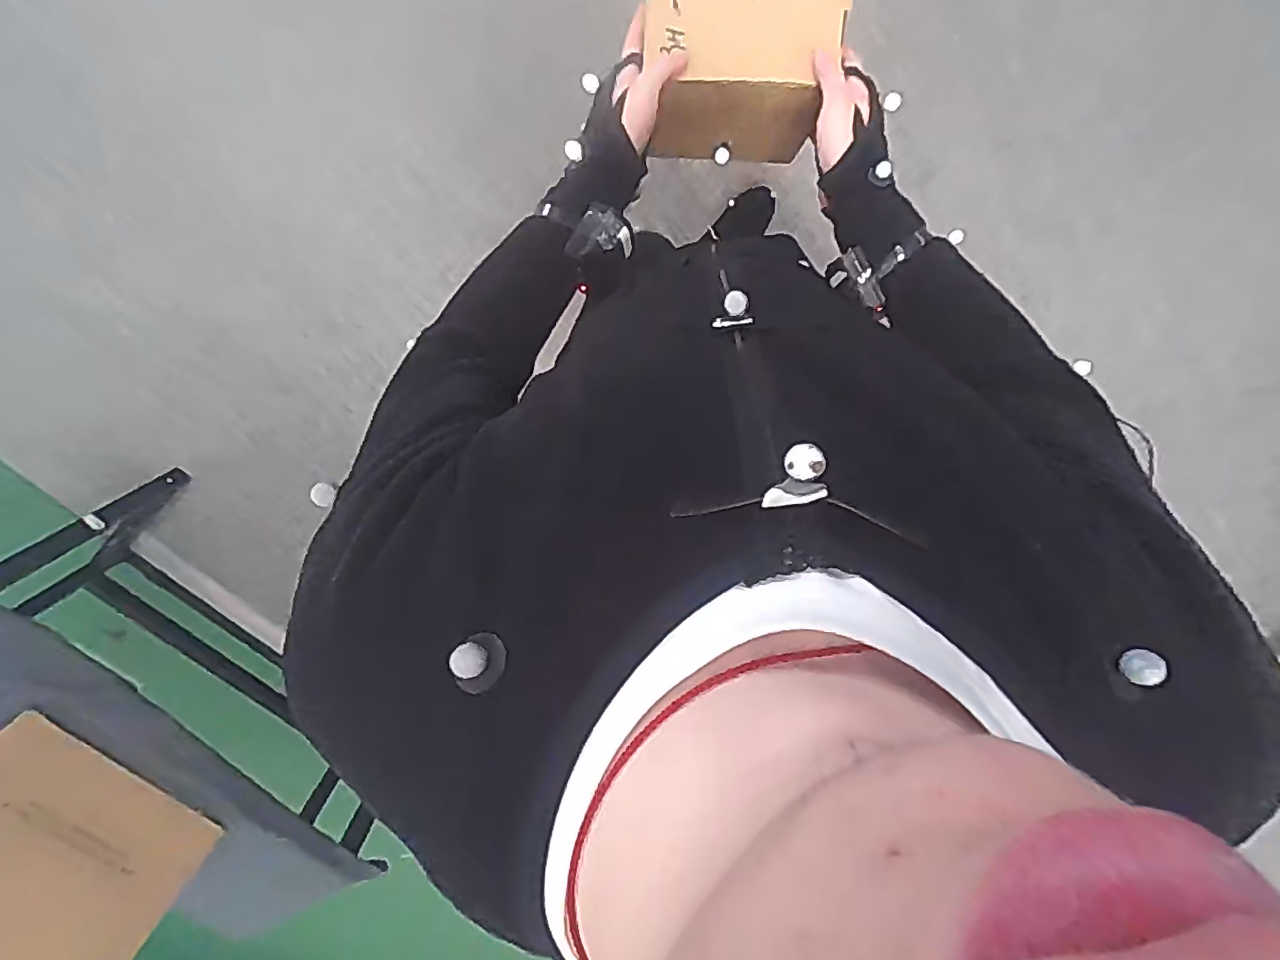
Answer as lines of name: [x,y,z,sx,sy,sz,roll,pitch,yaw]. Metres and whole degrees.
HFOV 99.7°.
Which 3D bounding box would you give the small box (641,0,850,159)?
small box: [0.094,-0.443,0.538,0.179,0.176,0.168,3,98,-1]
